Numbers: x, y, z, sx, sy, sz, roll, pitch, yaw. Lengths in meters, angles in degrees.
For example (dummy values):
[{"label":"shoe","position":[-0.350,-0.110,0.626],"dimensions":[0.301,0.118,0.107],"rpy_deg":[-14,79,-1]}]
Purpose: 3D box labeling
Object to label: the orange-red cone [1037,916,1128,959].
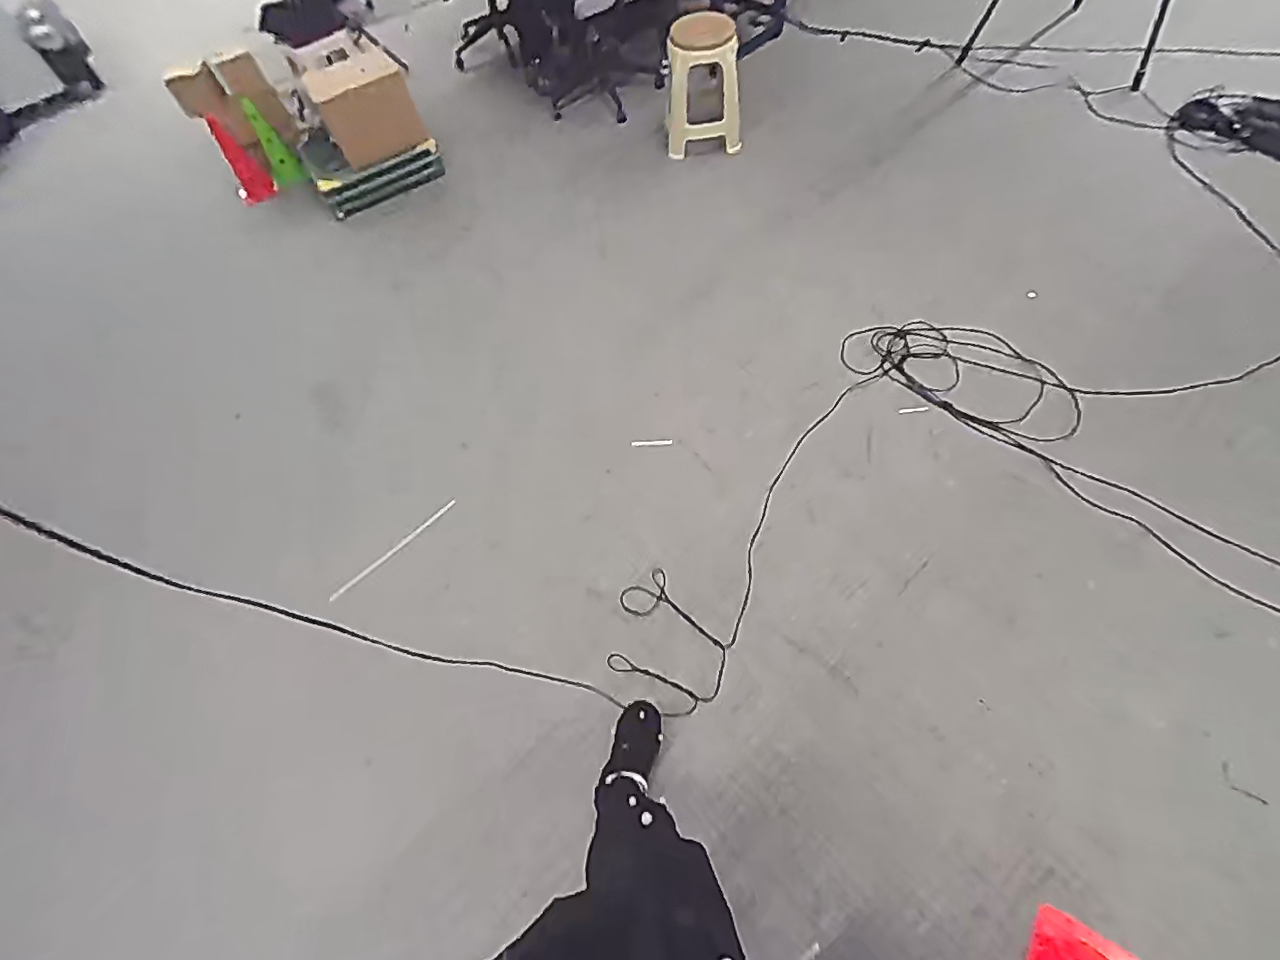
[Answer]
[{"label":"orange-red cone","position":[0.890,0.949,0.940],"dimensions":[0.198,0.360,0.199],"rpy_deg":[27,66,19]}]
